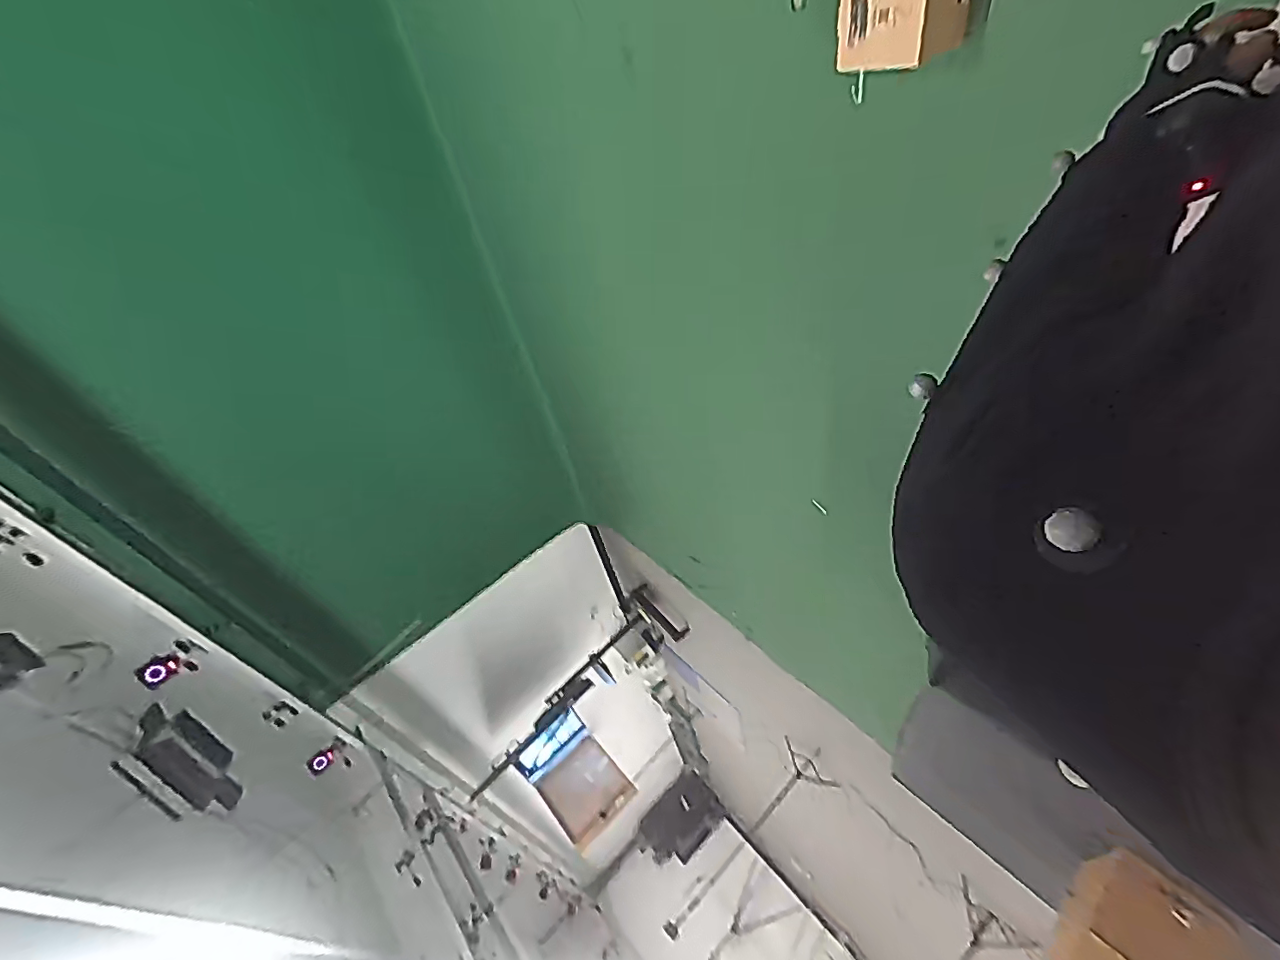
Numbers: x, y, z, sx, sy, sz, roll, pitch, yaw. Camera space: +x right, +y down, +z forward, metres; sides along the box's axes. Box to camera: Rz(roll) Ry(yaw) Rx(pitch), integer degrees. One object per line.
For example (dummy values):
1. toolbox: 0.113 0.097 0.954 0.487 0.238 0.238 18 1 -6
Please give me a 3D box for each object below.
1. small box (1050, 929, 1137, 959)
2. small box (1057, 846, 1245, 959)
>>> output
1. small box: 0.765 0.874 0.873 0.168 0.176 0.179 33 153 38
2. small box: 0.883 0.785 0.941 0.168 0.176 0.179 33 151 37
